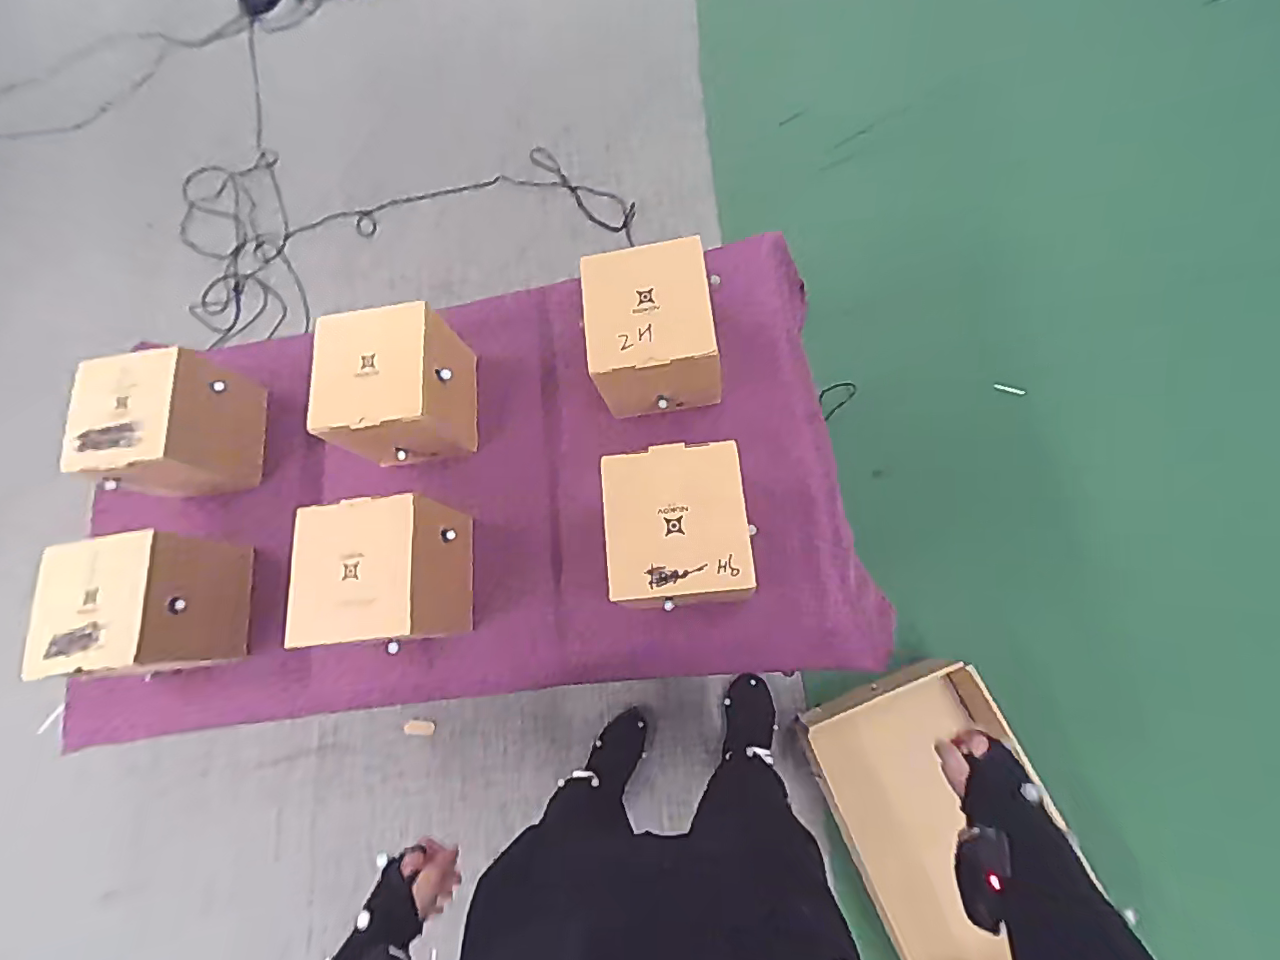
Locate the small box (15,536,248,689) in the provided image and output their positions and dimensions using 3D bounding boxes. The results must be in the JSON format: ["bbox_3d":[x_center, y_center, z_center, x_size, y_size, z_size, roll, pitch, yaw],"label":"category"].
[{"bbox_3d":[-0.701,0.189,0.769,0.168,0.176,0.179,-9,72,5],"label":"small box"}]

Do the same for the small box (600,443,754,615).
[{"bbox_3d":[0.048,0.071,0.688,0.168,0.176,0.179,-7,72,7],"label":"small box"}]

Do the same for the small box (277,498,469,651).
[{"bbox_3d":[-0.344,0.135,0.732,0.168,0.176,0.179,-7,73,7],"label":"small box"}]

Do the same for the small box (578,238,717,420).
[{"bbox_3d":[0.016,-0.203,0.766,0.168,0.176,0.179,-8,75,8],"label":"small box"}]

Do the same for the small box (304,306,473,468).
[{"bbox_3d":[-0.361,-0.129,0.807,0.168,0.176,0.179,-7,75,6],"label":"small box"}]
